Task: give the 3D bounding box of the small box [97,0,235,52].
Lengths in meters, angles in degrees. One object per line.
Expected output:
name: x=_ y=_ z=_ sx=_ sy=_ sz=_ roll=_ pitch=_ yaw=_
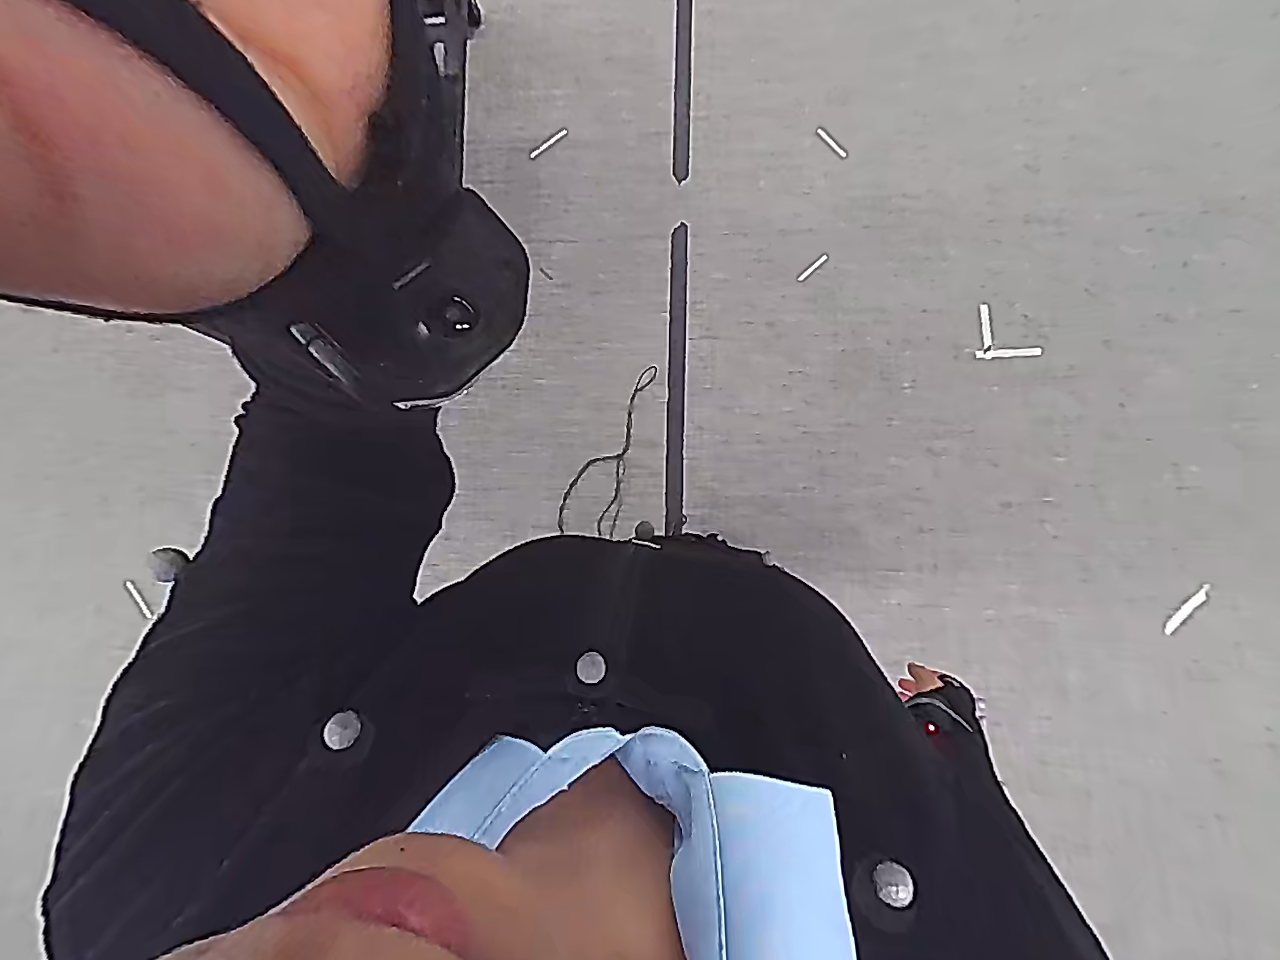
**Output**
small box: x=-0.804 y=-0.853 z=0.884 sx=0.168 sy=0.176 sz=0.179 roll=1 pitch=83 yaw=6
